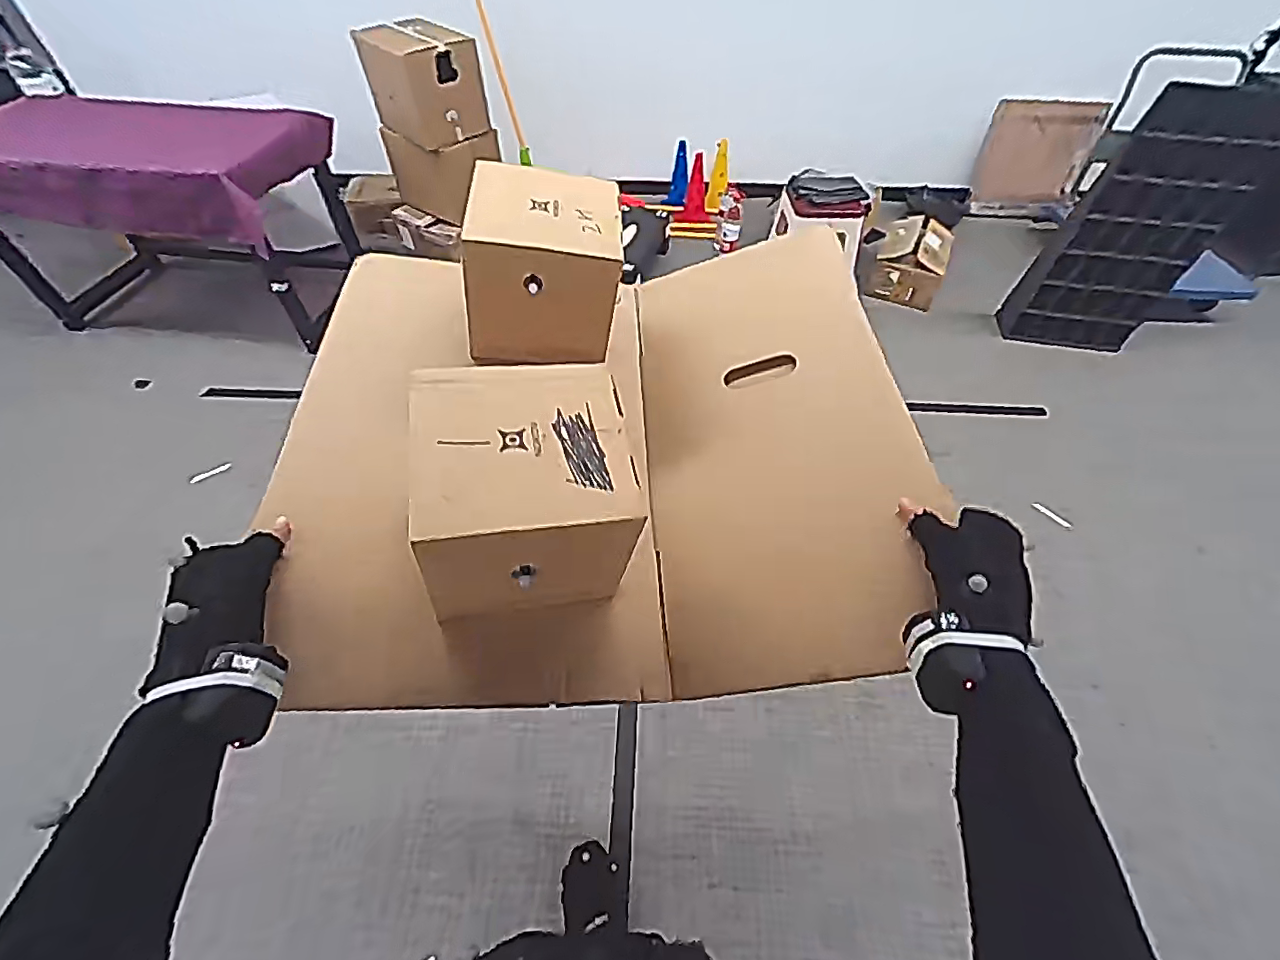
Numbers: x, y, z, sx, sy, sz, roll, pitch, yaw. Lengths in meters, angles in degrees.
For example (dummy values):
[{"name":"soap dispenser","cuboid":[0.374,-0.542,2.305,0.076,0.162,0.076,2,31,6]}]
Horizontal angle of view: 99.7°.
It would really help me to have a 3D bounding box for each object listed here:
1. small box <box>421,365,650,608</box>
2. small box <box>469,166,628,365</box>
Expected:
[{"name":"small box","cuboid":[-0.105,0.009,0.516,0.179,0.176,0.168,-5,58,-15]},{"name":"small box","cuboid":[-0.115,-0.268,0.700,0.179,0.176,0.168,4,56,-11]}]
